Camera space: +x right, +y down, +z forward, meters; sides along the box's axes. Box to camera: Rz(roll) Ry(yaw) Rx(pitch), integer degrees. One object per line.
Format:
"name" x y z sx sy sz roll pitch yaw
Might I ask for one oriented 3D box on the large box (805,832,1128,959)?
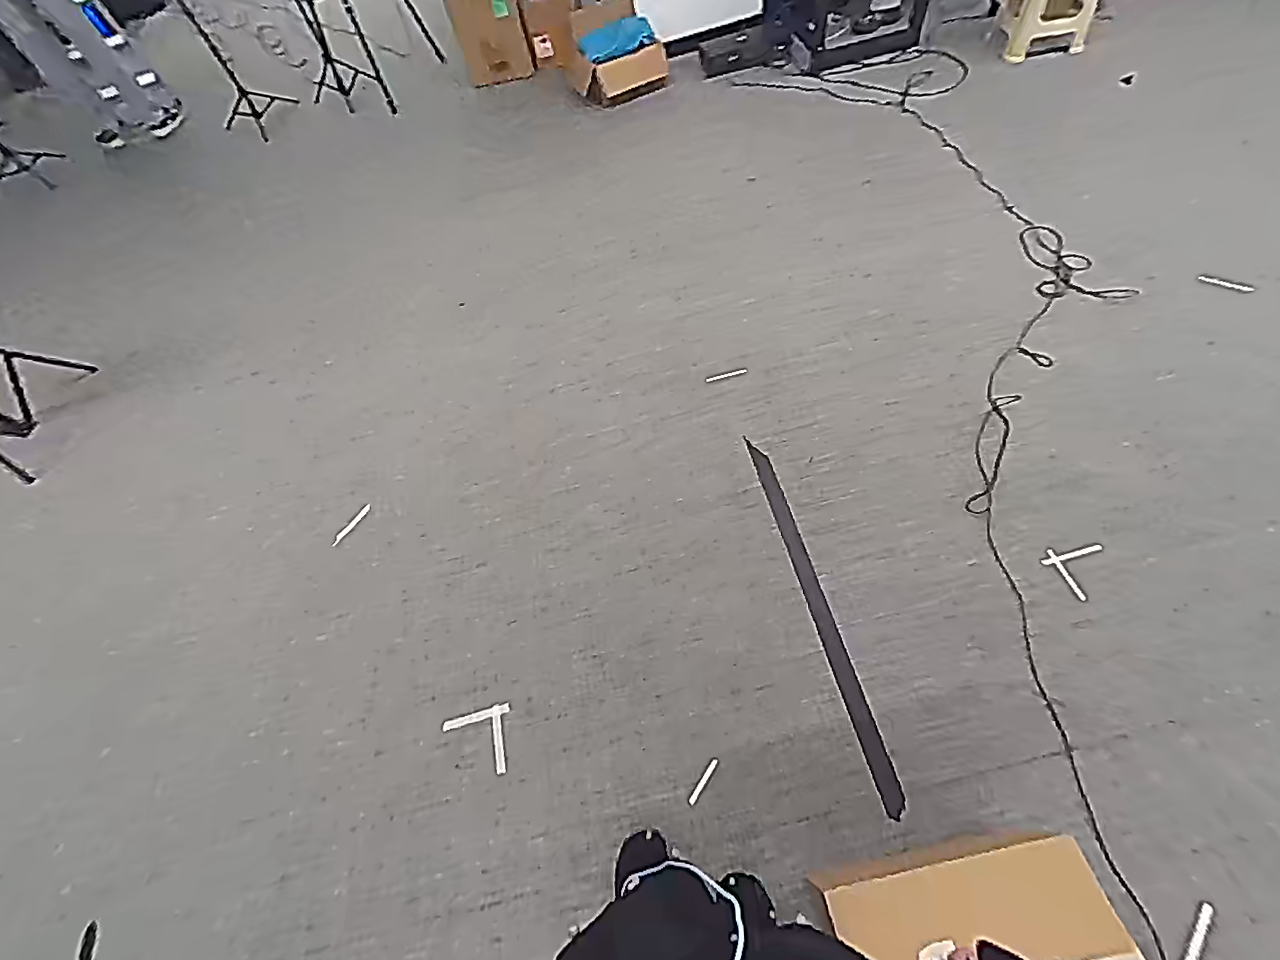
"large box" 0.528 0.810 0.893 0.408 0.320 0.320 -15 55 2
